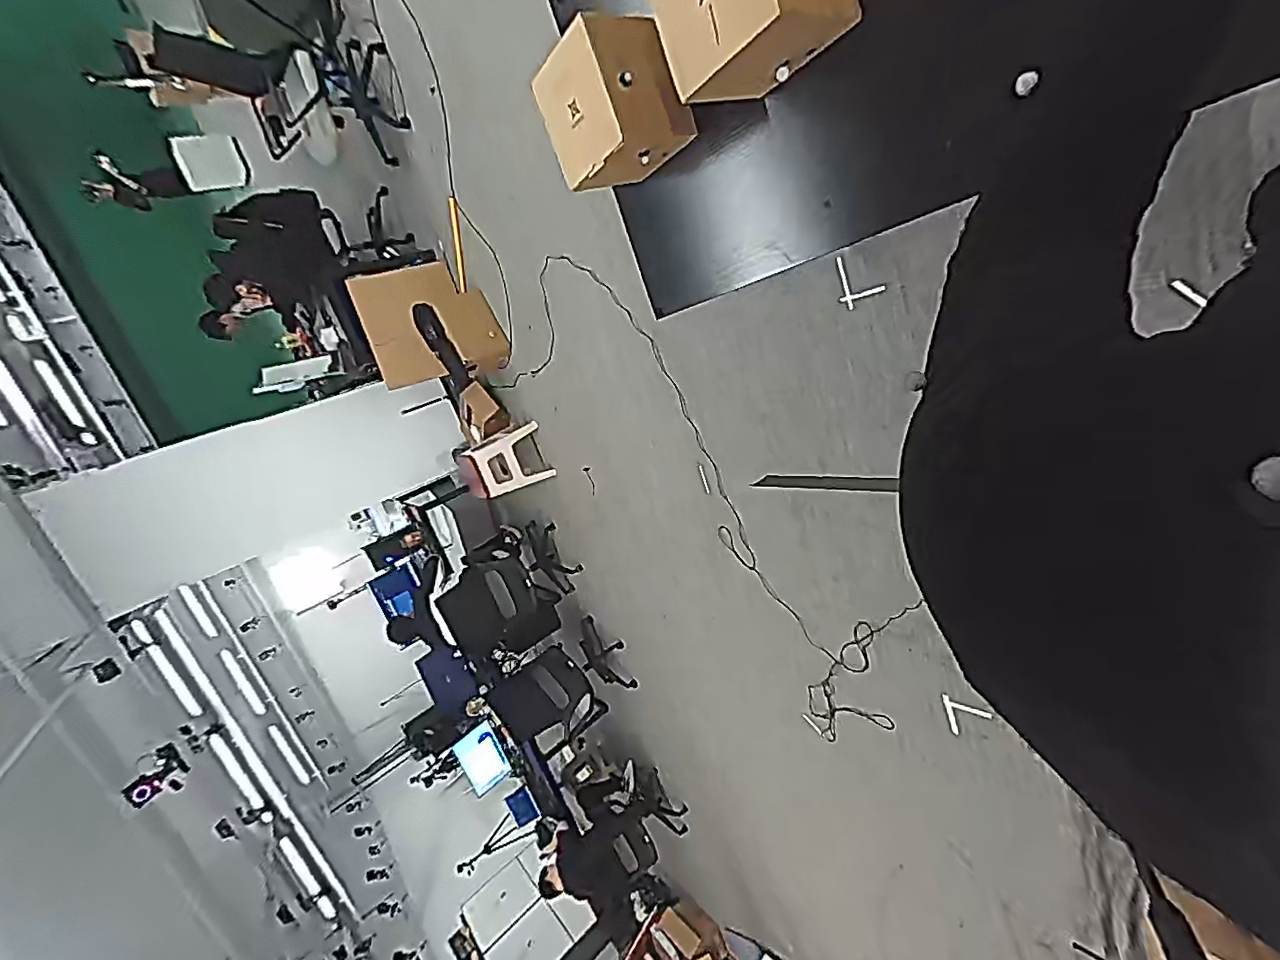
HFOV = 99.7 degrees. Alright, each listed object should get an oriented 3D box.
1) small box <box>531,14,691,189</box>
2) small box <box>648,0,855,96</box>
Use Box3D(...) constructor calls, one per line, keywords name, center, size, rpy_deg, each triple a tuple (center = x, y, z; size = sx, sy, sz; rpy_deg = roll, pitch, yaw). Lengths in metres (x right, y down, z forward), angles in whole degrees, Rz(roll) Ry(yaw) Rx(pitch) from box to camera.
Box3D(name="small box", center=(-0.043, -0.609, 0.882), size=(0.168, 0.176, 0.179), rpy_deg=(-3, 111, 54))
Box3D(name="small box", center=(0.128, -0.600, 0.651), size=(0.168, 0.176, 0.179), rpy_deg=(-1, 115, 55))
